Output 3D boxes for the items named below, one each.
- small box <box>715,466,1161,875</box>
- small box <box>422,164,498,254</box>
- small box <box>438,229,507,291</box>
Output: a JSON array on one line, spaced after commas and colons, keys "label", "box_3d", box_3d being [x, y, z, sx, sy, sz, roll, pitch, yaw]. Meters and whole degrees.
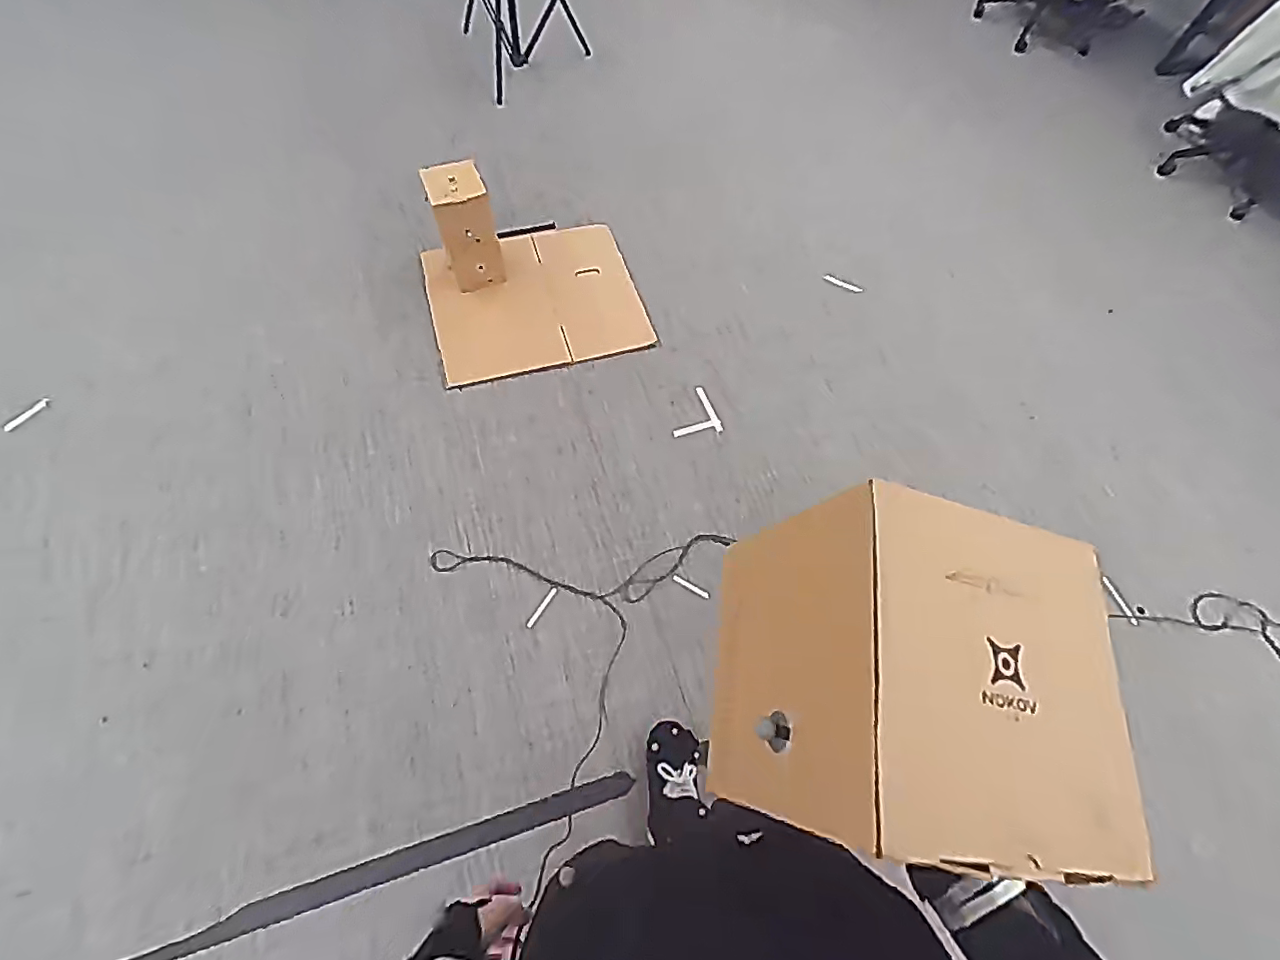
[{"label": "small box", "box_3d": [0.159, 0.118, 0.344, 0.168, 0.176, 0.179, 15, 65, -15]}, {"label": "small box", "box_3d": [-0.557, -0.841, 1.682, 0.168, 0.176, 0.179, -20, 66, -12]}, {"label": "small box", "box_3d": [-0.562, -0.767, 1.829, 0.168, 0.176, 0.179, -21, 67, -14]}]
